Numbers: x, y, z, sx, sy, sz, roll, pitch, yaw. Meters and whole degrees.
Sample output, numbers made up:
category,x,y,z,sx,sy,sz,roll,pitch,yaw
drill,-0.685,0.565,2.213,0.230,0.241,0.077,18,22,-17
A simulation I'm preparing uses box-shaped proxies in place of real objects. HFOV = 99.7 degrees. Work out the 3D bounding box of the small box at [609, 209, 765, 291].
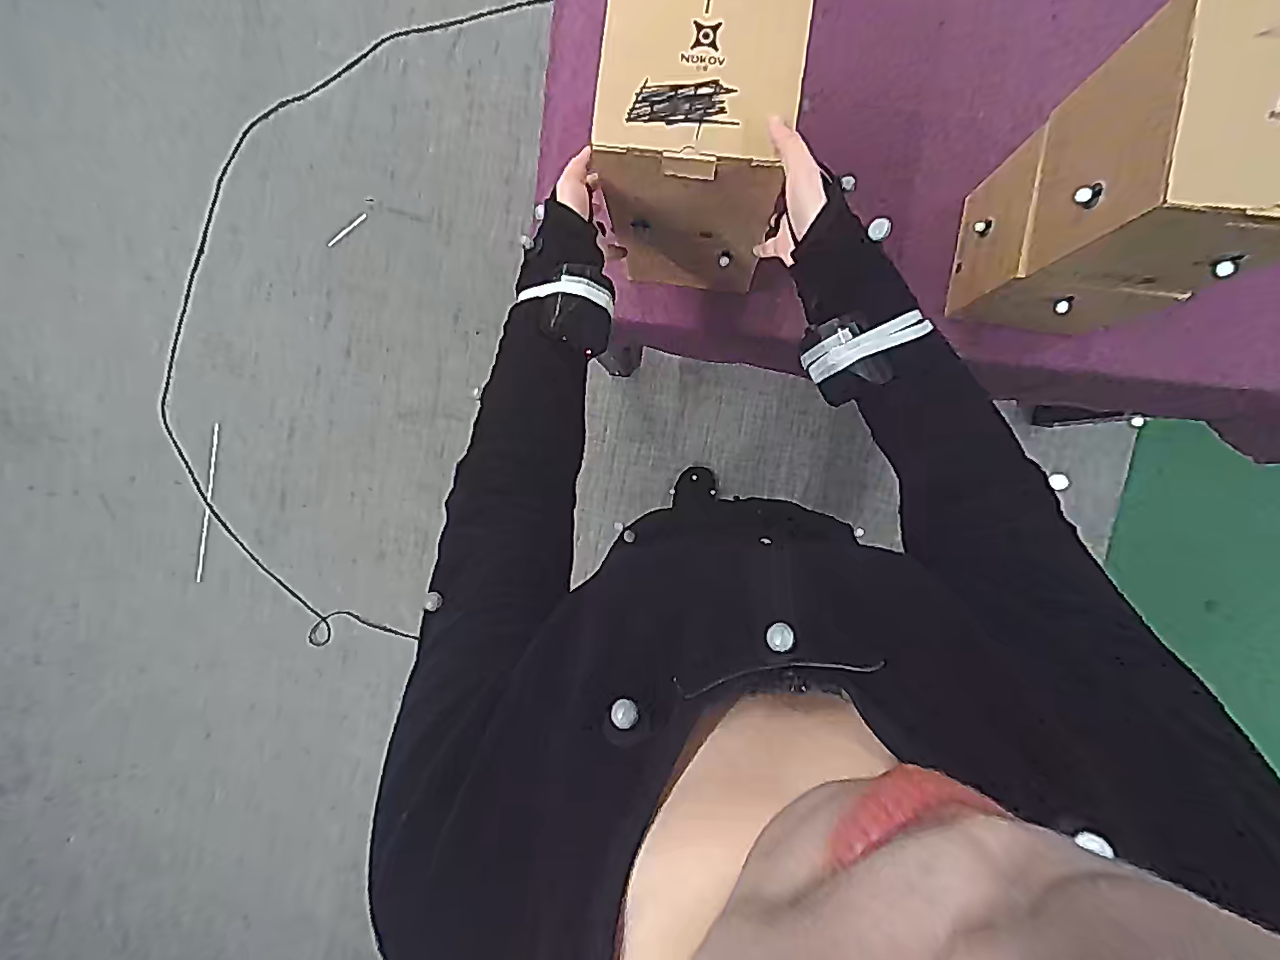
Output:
category,x,y,z,sx,sy,sz,roll,pitch,yaw
small box,0.067,-0.352,0.683,0.179,0.176,0.168,8,93,3

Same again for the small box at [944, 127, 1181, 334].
category,x,y,z,sx,sy,sz,roll,pitch,yaw
small box,0.501,-0.283,0.650,0.179,0.176,0.168,10,93,4

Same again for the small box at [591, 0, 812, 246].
category,x,y,z,sx,sy,sz,roll,pitch,yaw
small box,0.057,-0.347,0.518,0.168,0.176,0.179,8,91,3

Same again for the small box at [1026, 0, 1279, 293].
category,x,y,z,sx,sy,sz,roll,pitch,yaw
small box,0.490,-0.283,0.487,0.168,0.176,0.179,8,92,4
